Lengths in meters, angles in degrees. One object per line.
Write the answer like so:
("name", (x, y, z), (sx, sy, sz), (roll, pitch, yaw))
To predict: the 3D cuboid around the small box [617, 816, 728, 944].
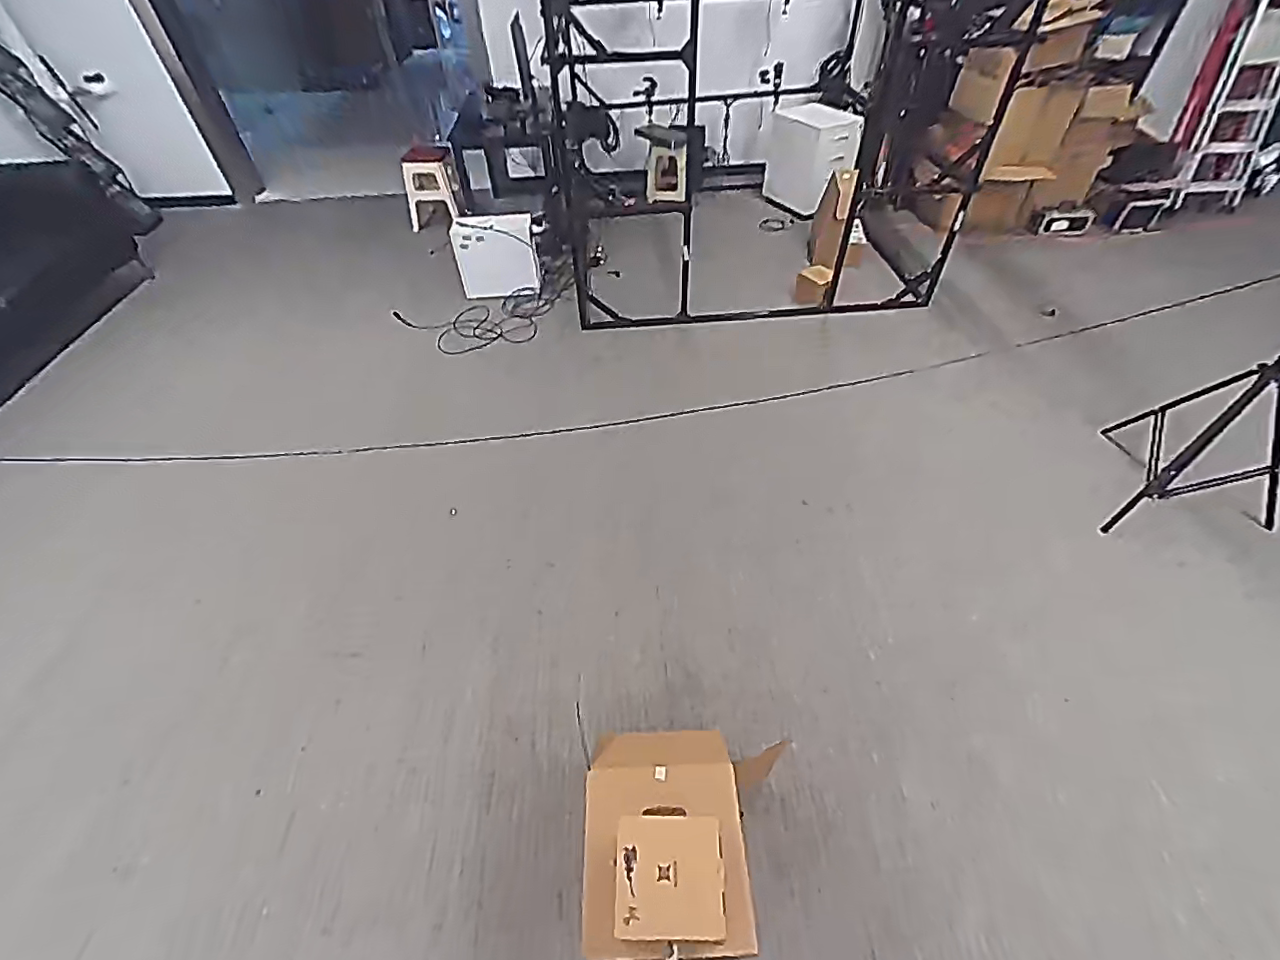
("small box", (0.053, 0.704, 0.951), (0.179, 0.176, 0.168), (0, 48, 2))
